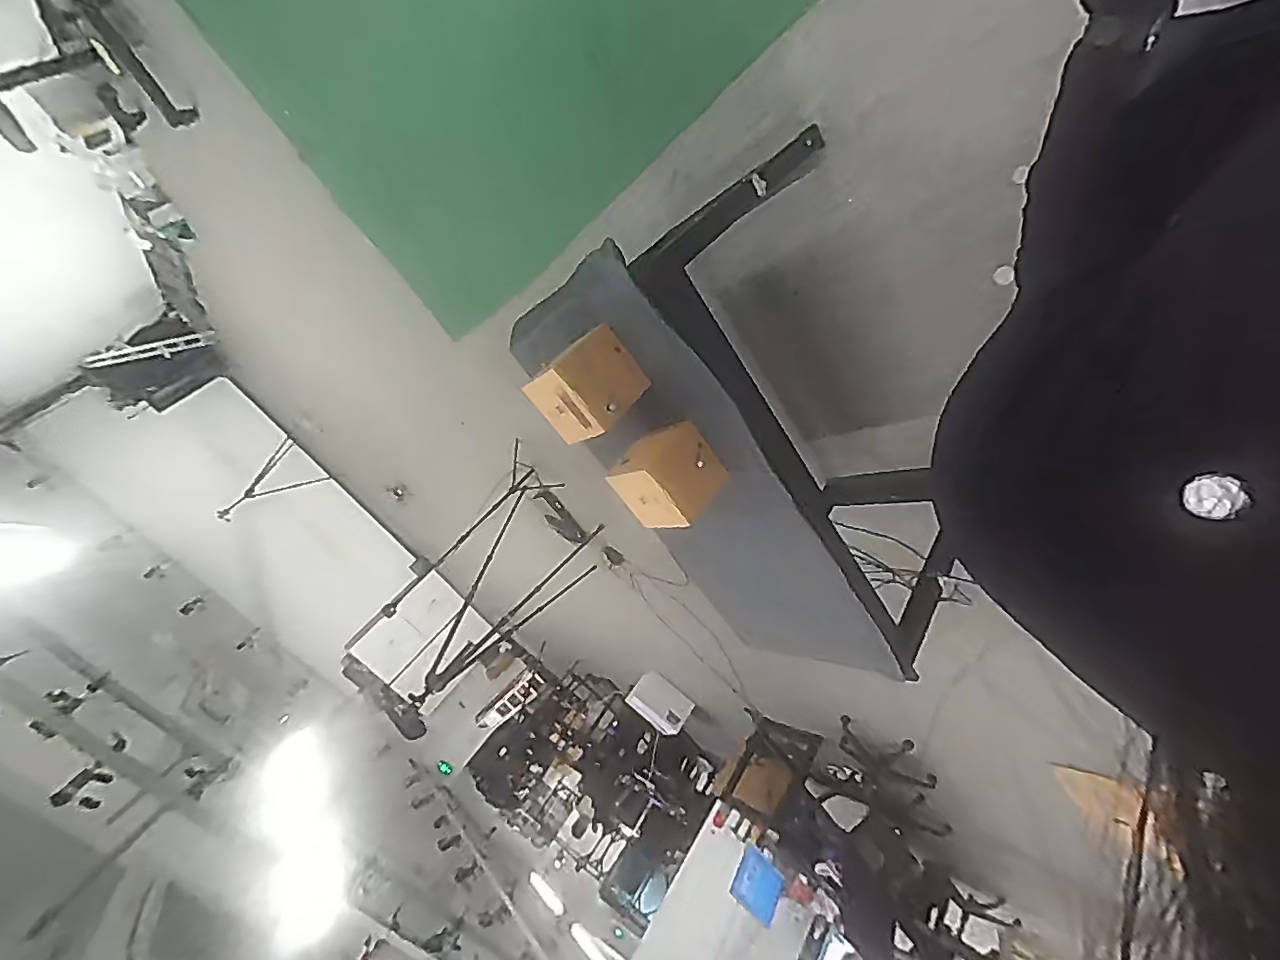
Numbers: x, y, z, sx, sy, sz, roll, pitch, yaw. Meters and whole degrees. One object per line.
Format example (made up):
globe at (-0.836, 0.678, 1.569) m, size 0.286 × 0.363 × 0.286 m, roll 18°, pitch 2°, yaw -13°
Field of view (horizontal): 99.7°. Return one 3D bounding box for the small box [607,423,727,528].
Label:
small box at (0.065, -0.007, 1.232) m, size 0.168 × 0.176 × 0.179 m, roll 51°, pitch 150°, yaw -19°
